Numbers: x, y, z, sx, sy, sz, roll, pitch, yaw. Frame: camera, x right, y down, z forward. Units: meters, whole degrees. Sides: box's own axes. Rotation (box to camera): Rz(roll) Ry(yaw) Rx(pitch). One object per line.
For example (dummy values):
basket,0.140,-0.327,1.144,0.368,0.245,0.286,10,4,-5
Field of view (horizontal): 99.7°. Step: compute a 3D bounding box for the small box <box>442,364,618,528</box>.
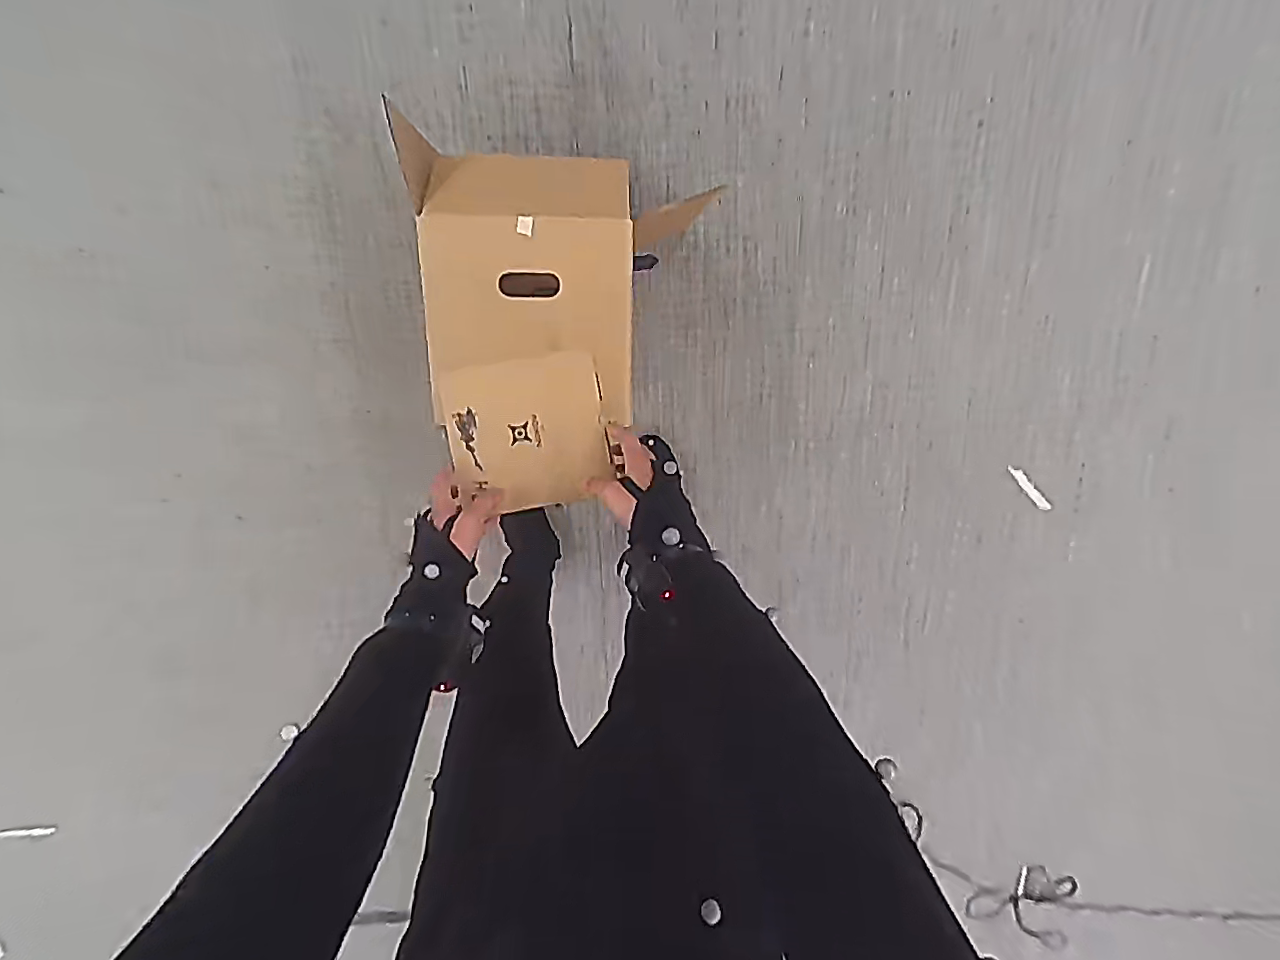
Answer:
small box,-0.126,-0.040,0.683,0.179,0.176,0.168,-9,90,-1
